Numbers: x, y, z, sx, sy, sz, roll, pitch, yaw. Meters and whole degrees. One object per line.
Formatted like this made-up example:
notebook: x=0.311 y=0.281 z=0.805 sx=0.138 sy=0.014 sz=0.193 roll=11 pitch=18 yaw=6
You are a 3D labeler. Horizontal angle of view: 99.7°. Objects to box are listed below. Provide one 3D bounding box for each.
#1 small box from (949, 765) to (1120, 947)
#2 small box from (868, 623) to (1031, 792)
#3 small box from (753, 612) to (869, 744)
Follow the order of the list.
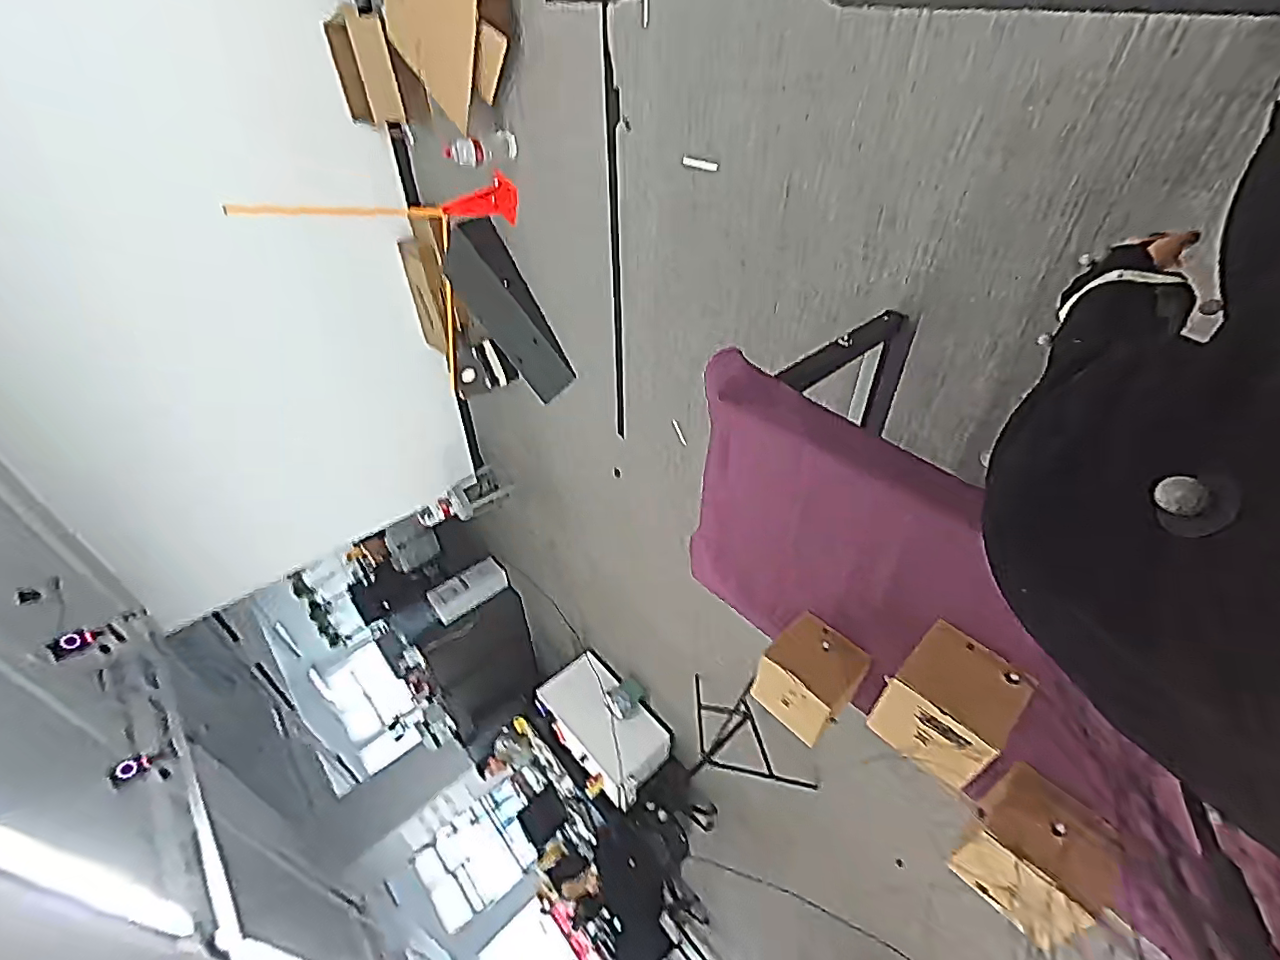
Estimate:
small box: x=0.677 y=0.635 z=0.929 sx=0.168 sy=0.176 sz=0.179 roll=36 pitch=140 yaw=35
small box: x=0.530 y=0.382 z=0.929 sx=0.168 sy=0.176 sz=0.179 roll=36 pitch=143 yaw=34
small box: x=0.375 y=0.430 z=1.189 sx=0.168 sy=0.176 sz=0.179 roll=35 pitch=140 yaw=34
